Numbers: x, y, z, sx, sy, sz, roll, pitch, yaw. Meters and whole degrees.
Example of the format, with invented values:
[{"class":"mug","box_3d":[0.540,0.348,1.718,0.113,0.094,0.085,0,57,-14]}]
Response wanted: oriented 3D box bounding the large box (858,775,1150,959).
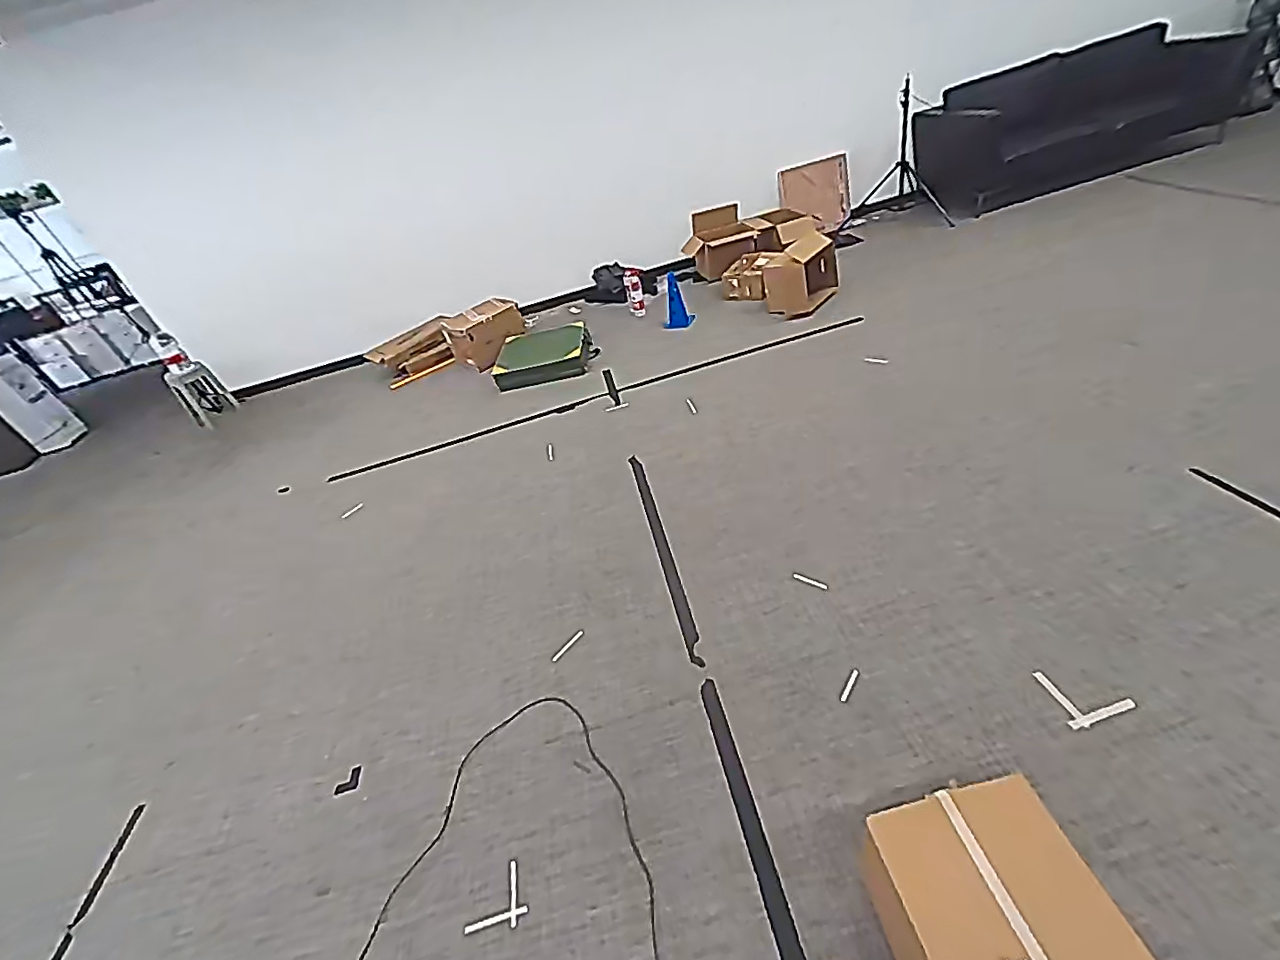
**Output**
[{"class":"large box","box_3d":[0.635,0.829,0.964,0.320,0.320,0.408,-16,37,0]}]
